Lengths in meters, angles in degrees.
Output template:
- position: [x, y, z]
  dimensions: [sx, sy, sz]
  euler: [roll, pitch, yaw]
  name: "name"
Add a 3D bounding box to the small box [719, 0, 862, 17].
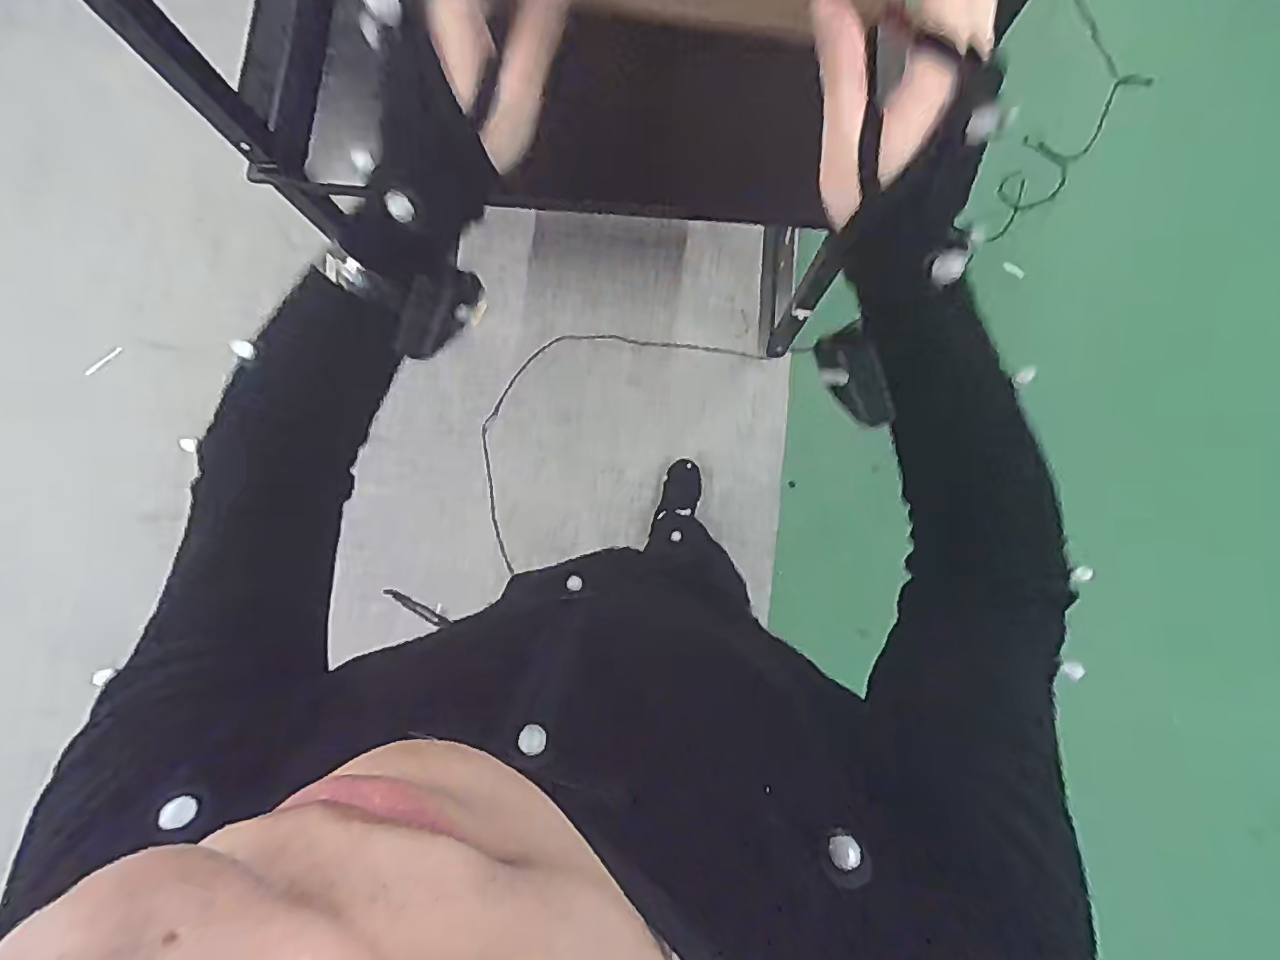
- position: [0.042, -0.310, 0.192]
  dimensions: [0.179, 0.176, 0.168]
  euler: [11, 109, 2]
  name: "small box"
